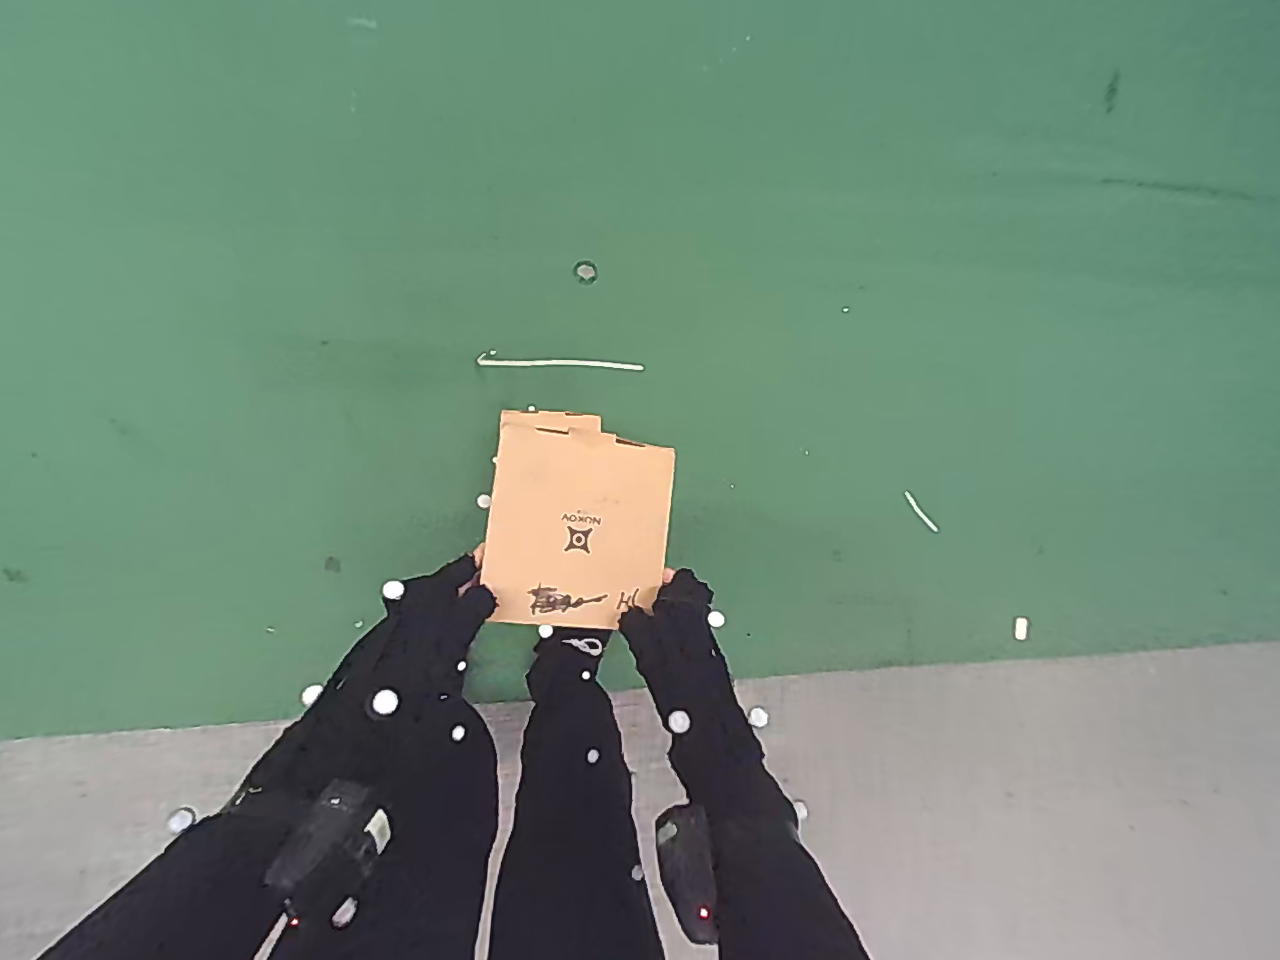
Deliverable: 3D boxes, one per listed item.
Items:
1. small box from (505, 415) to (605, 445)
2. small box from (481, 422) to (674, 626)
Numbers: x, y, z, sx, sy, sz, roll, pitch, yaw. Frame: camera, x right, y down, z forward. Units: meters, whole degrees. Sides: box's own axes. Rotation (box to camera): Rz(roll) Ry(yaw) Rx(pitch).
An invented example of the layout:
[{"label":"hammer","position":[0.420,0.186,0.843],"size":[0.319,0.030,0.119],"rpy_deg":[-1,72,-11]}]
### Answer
[{"label":"small box","position":[-0.155,-0.020,0.974],"size":[0.168,0.176,0.179],"rpy_deg":[2,93,-8]},{"label":"small box","position":[-0.075,0.049,0.581],"size":[0.168,0.176,0.179],"rpy_deg":[8,84,-14]}]
